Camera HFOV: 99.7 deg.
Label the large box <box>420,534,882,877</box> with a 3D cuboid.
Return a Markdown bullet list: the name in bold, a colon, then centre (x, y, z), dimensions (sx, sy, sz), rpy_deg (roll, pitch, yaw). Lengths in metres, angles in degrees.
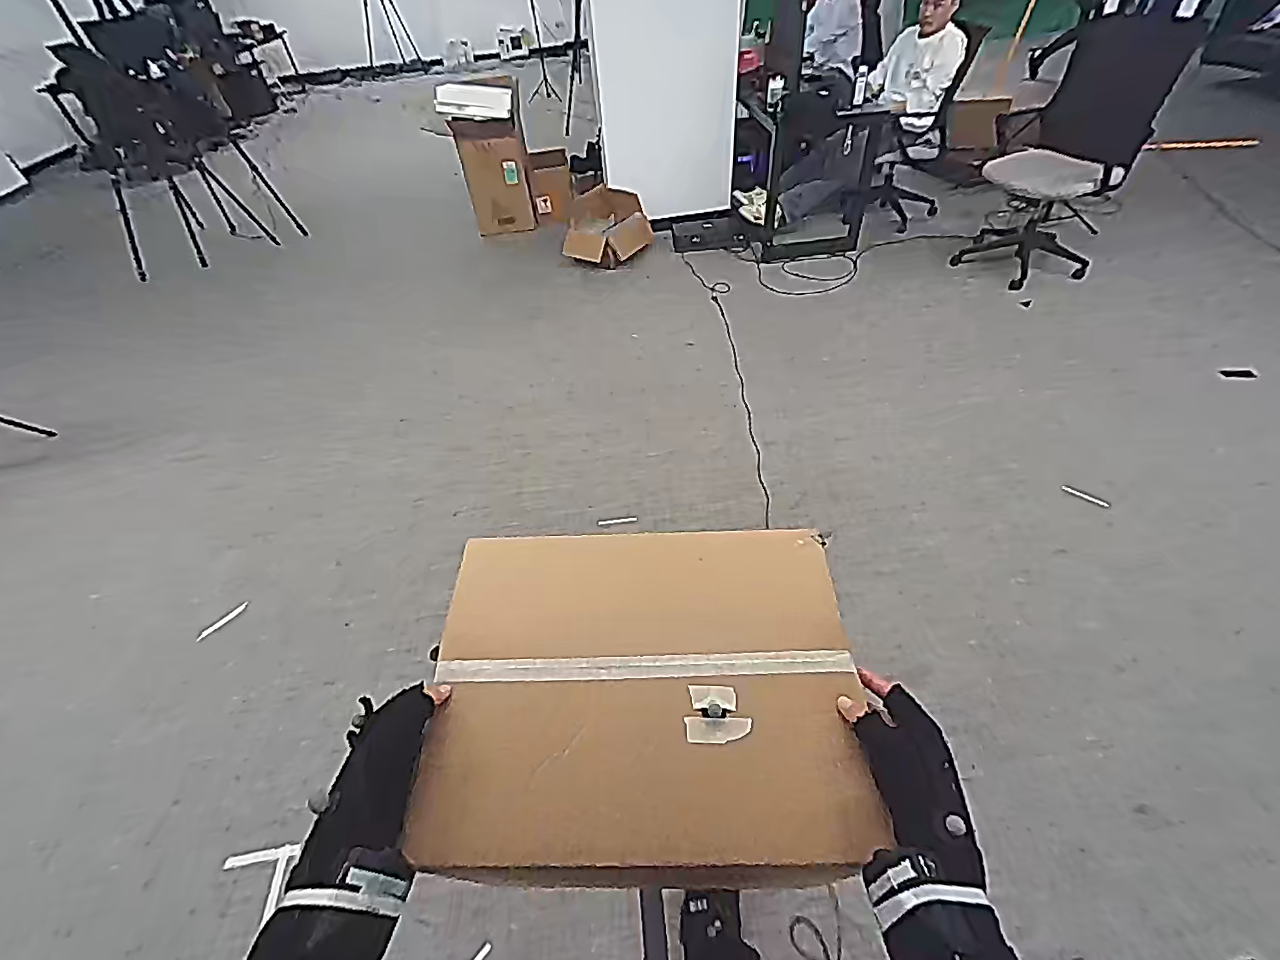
- **large box**: centre (0.010, 0.283, 0.664), dimensions (0.408, 0.320, 0.320), rpy_deg (-1, 51, 2)
